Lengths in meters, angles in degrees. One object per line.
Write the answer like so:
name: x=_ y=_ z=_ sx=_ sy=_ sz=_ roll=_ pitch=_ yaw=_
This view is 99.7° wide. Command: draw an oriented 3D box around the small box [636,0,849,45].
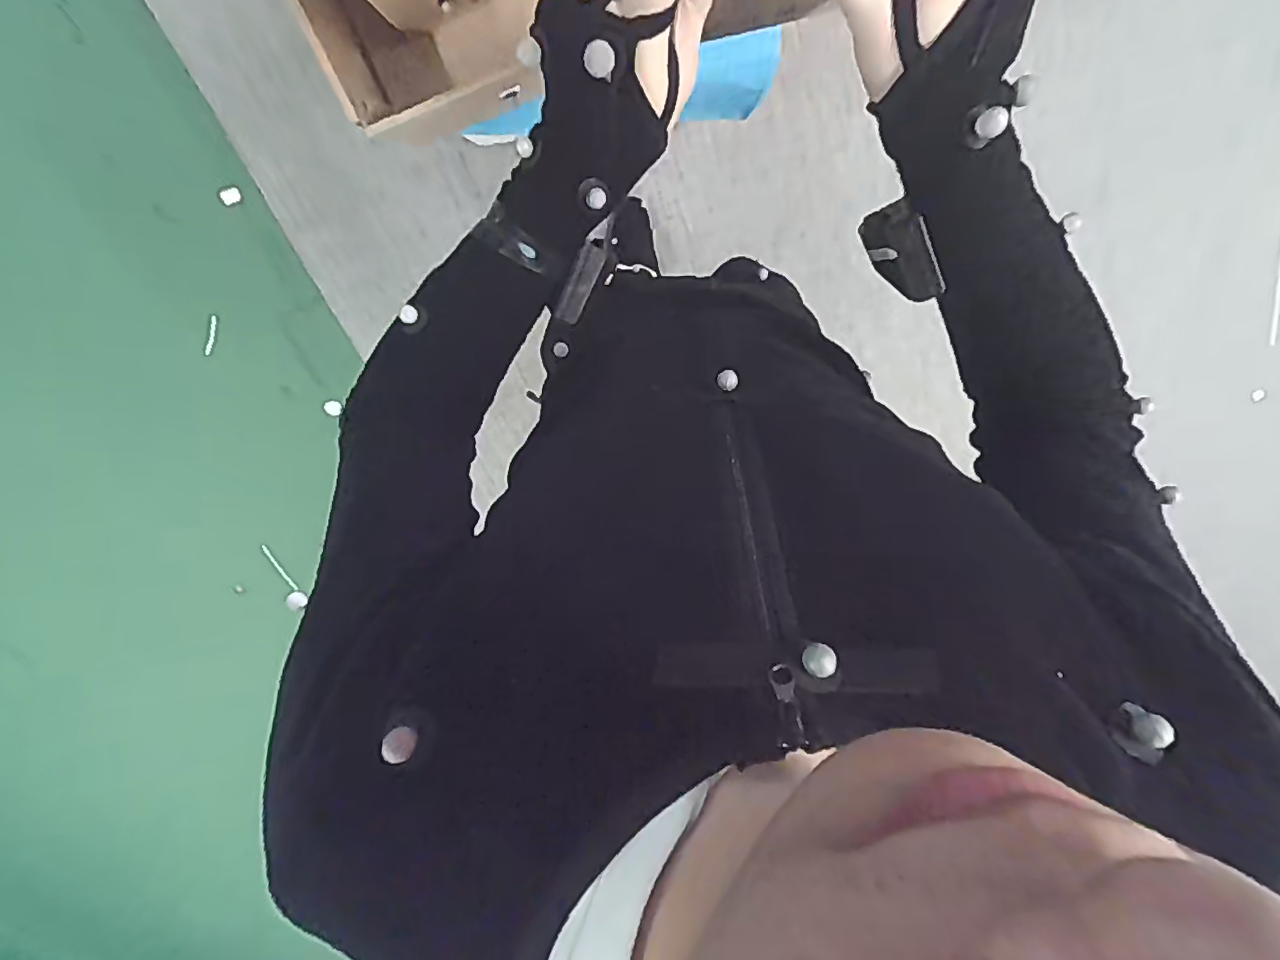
small box: x=0.066 y=-0.380 z=0.286 sx=0.168 sy=0.176 sz=0.179 roll=-10 pitch=111 yaw=4
